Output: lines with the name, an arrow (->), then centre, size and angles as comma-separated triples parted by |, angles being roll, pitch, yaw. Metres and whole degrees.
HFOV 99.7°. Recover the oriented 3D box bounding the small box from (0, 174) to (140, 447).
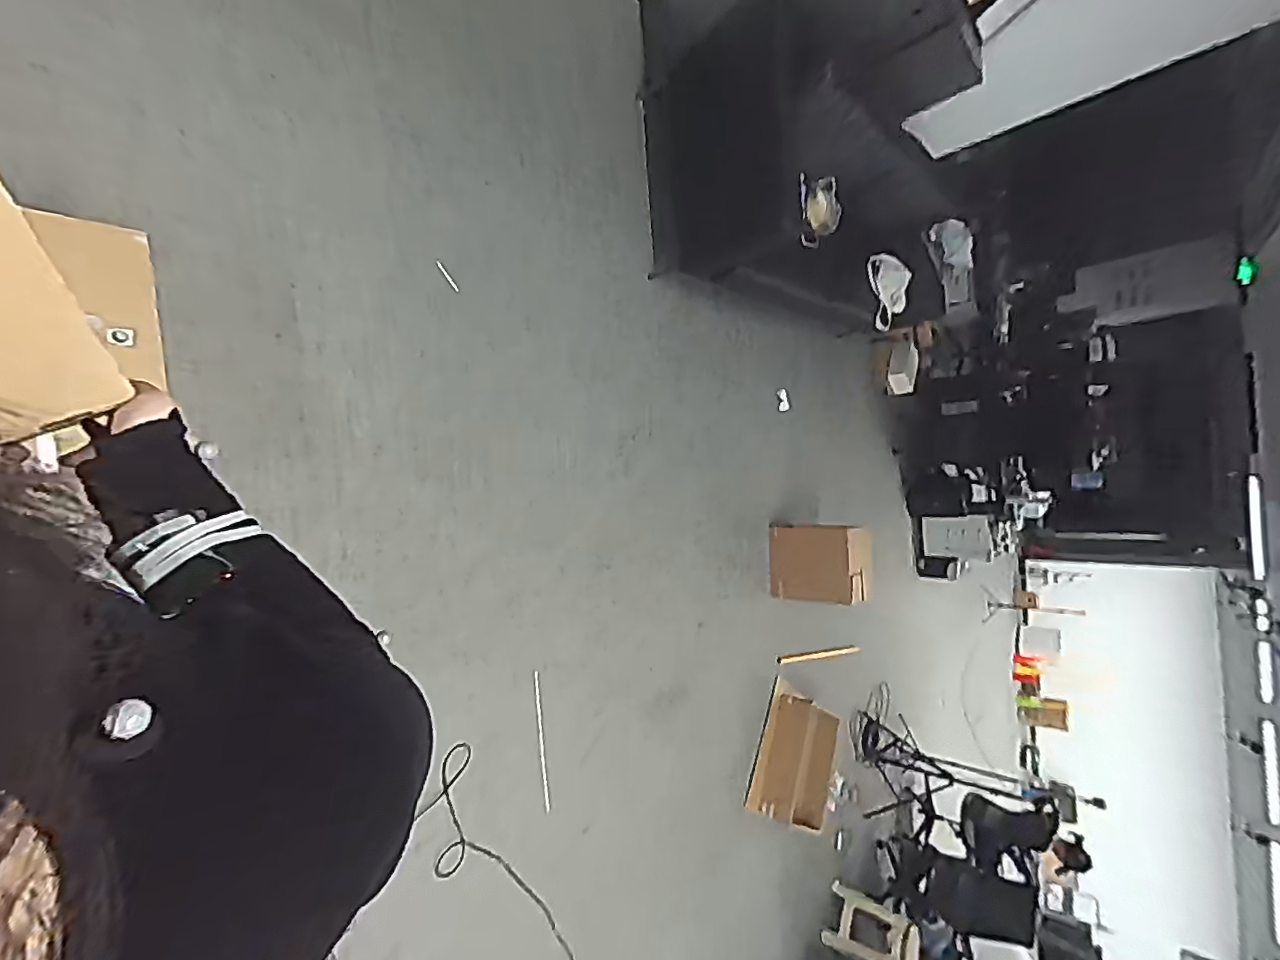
small box -> -0.528, -0.110, 0.406 | 0.168, 0.176, 0.179 | -36, 119, -39
